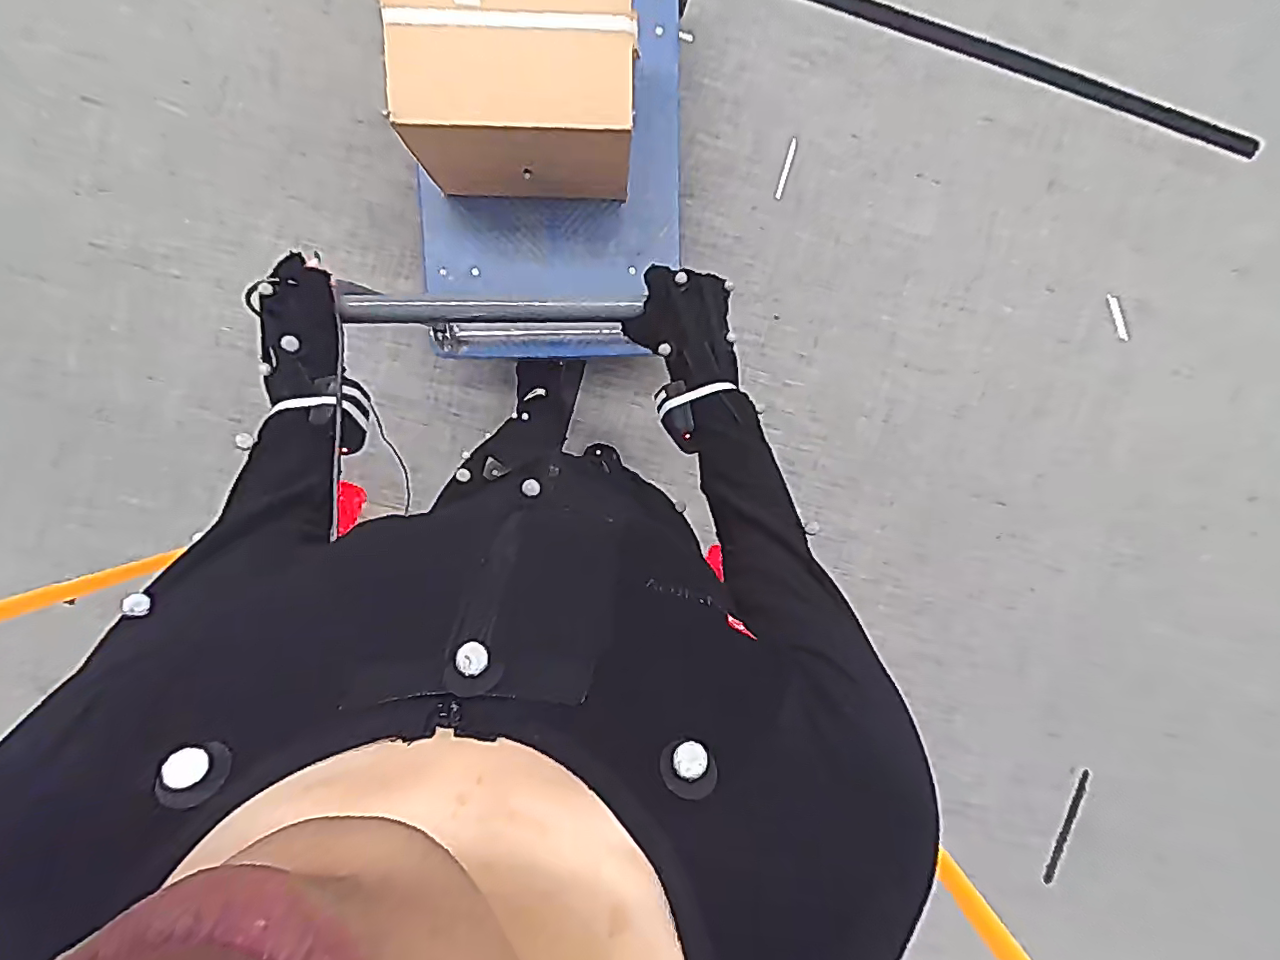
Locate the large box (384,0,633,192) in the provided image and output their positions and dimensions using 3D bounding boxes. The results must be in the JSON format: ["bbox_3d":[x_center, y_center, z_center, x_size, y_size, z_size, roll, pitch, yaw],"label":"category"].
[{"bbox_3d":[-0.220,-0.766,1.029,0.408,0.320,0.320,0,98,-3],"label":"large box"}]

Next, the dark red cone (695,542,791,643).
[{"bbox_3d":[0.280,0.302,1.327,0.201,0.394,0.202,15,97,-7],"label":"dark red cone"}]

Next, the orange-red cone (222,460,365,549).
[{"bbox_3d":[-0.831,0.084,1.251,0.198,0.360,0.199,23,94,-7],"label":"orange-red cone"}]
